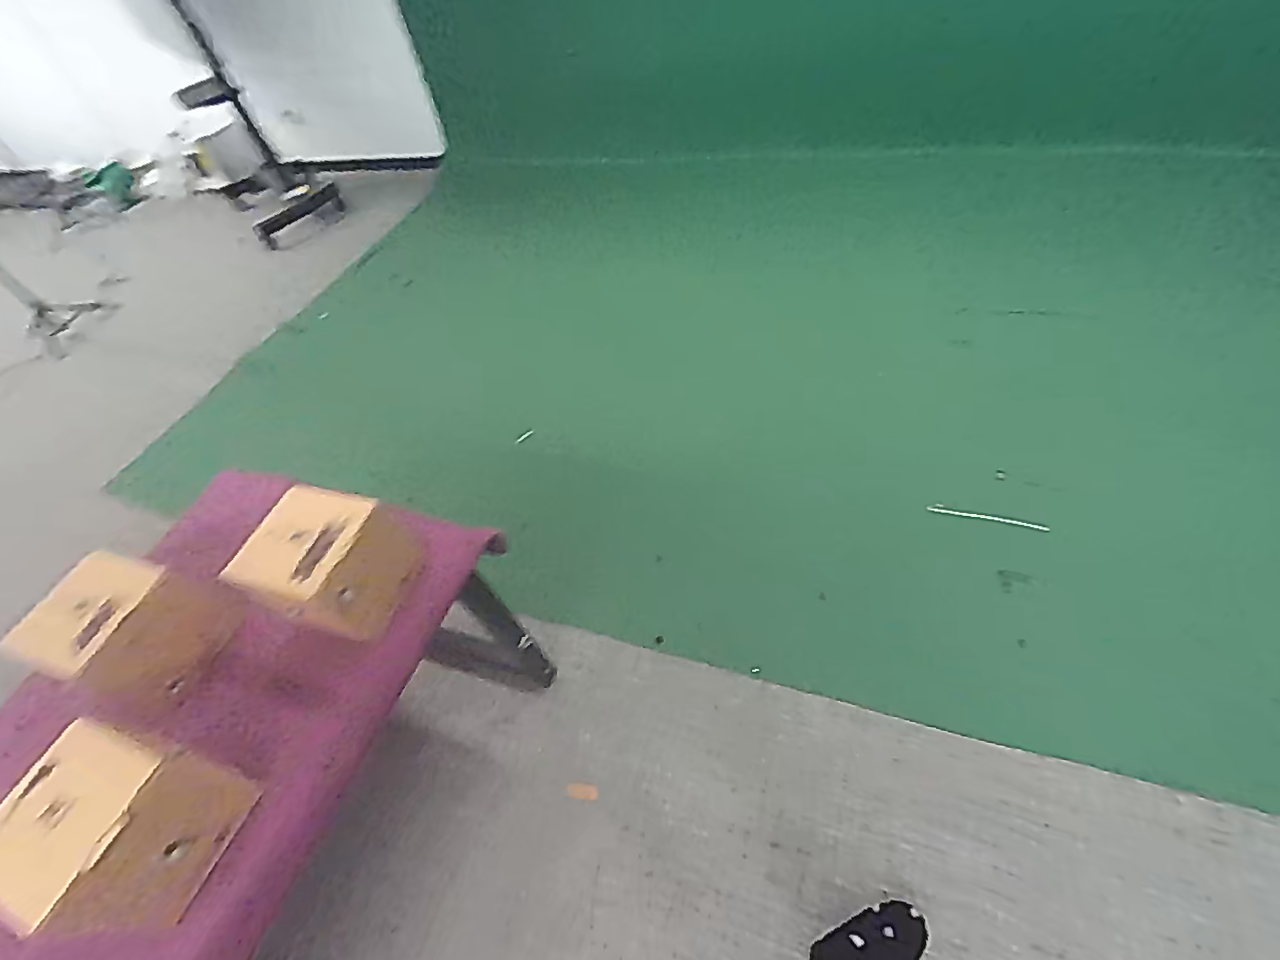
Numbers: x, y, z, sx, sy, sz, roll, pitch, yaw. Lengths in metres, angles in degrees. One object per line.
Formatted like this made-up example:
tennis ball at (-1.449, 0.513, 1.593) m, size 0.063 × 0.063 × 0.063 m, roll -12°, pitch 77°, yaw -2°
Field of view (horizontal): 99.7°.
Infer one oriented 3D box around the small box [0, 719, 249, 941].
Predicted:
small box at (-0.641, 0.421, 0.661) m, size 0.179 × 0.176 × 0.168 m, roll 10°, pitch 55°, yaw 19°

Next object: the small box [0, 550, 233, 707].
small box at (-0.797, 0.234, 0.839) m, size 0.179 × 0.176 × 0.168 m, roll 8°, pitch 54°, yaw 18°
